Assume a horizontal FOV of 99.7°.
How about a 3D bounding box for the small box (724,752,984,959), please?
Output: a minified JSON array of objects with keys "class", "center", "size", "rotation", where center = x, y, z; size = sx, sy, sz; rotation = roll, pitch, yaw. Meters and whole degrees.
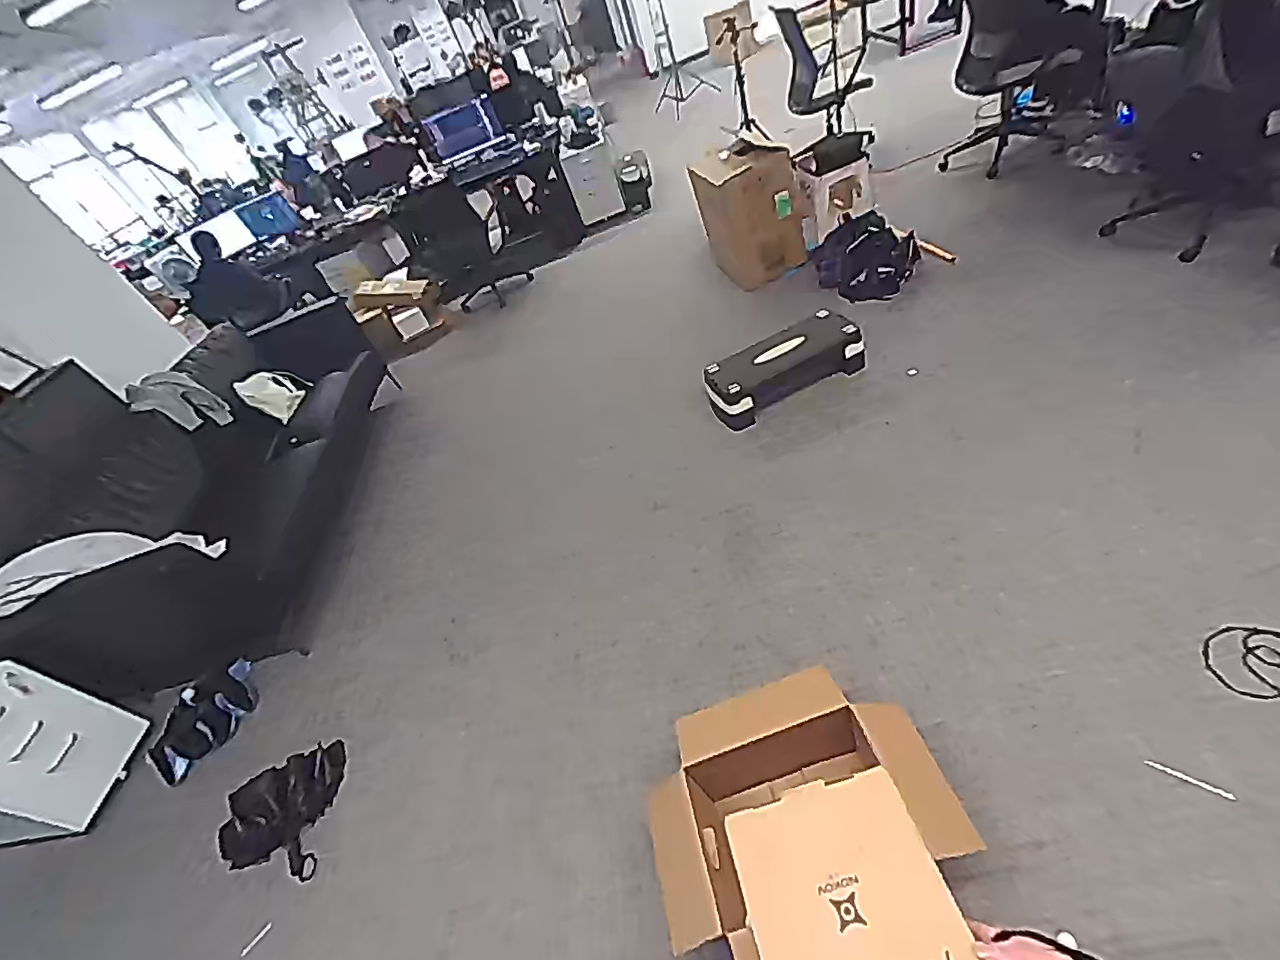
[{"class":"small box","center":[0.195,0.399,0.513],"size":[0.168,0.176,0.179],"rotation":[-21,39,5]}]
